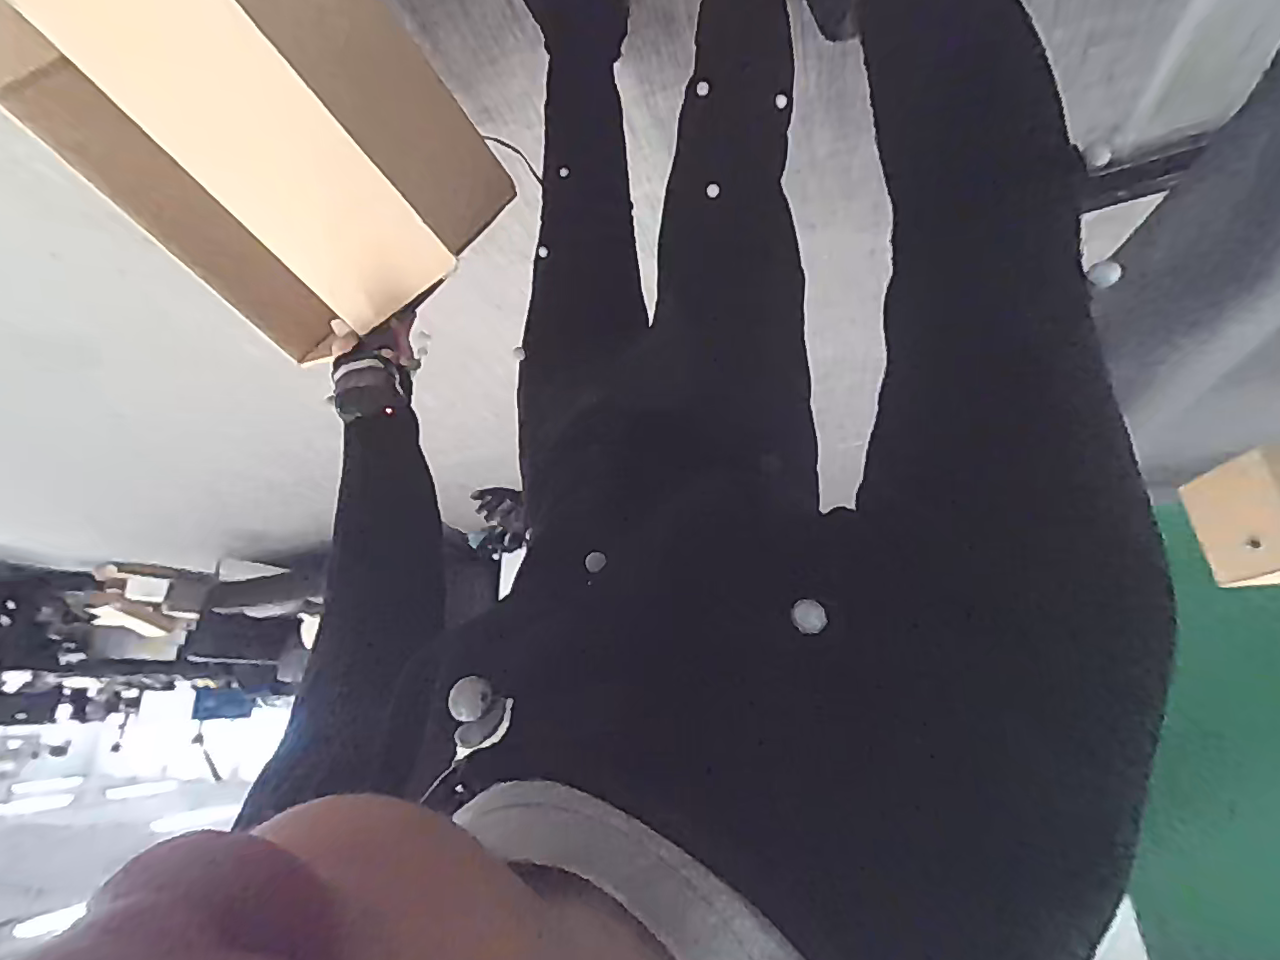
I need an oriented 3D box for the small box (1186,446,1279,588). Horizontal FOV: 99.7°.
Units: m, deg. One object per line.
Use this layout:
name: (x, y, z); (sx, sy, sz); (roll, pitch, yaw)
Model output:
small box: (0.947, 0.050, 0.770); (0.168, 0.176, 0.179); (-7, 159, 14)
